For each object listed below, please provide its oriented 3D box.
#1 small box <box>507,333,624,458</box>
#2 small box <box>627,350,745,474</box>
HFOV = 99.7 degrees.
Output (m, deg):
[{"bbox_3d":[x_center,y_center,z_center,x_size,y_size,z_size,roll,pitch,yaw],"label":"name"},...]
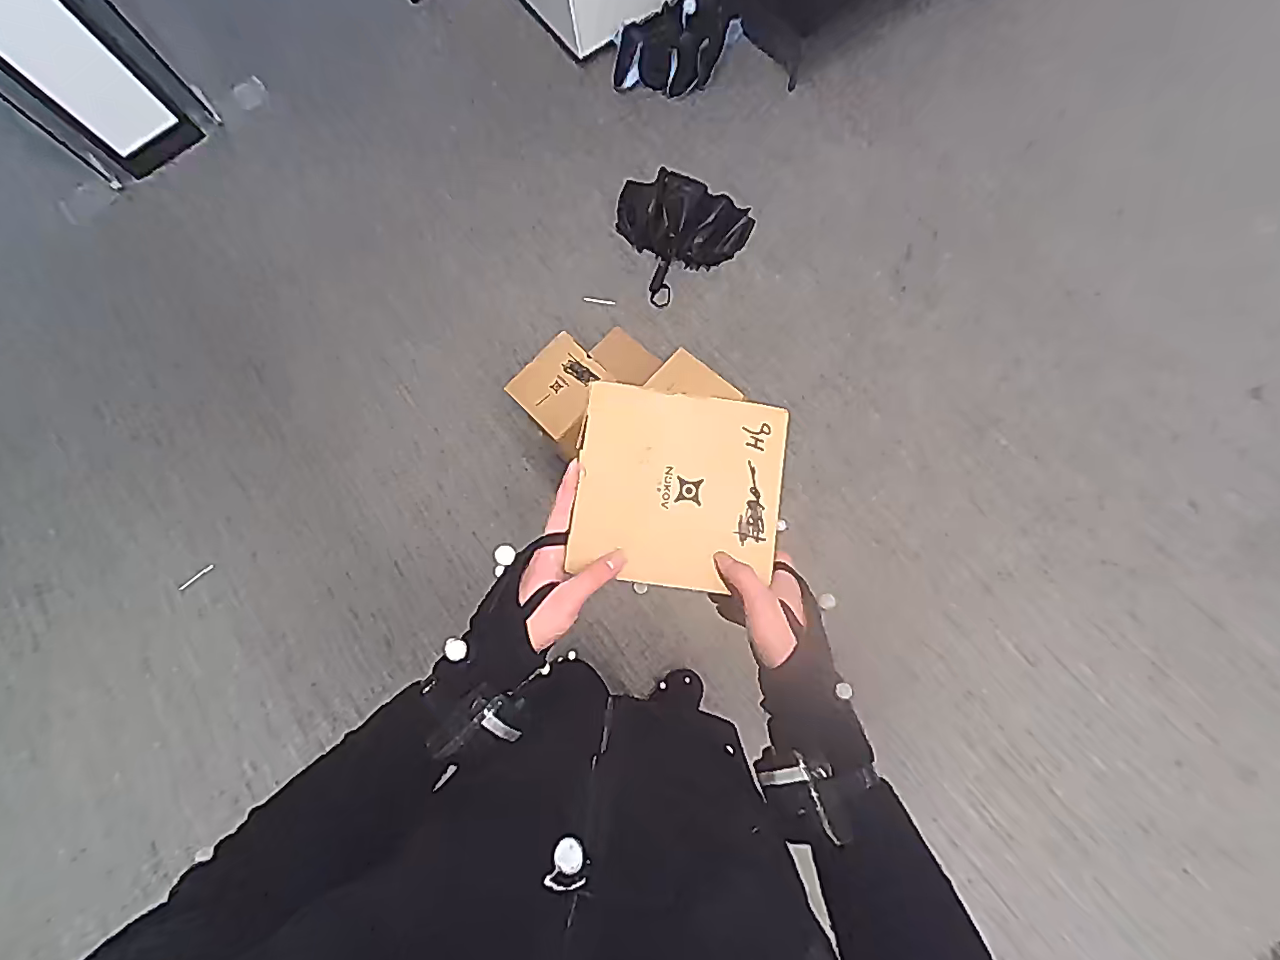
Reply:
[{"bbox_3d":[-0.151,-0.175,1.172,0.179,0.176,0.168,-45,76,-4],"label":"small box"},{"bbox_3d":[0.095,-0.132,1.140,0.179,0.176,0.168,40,79,14],"label":"small box"}]
